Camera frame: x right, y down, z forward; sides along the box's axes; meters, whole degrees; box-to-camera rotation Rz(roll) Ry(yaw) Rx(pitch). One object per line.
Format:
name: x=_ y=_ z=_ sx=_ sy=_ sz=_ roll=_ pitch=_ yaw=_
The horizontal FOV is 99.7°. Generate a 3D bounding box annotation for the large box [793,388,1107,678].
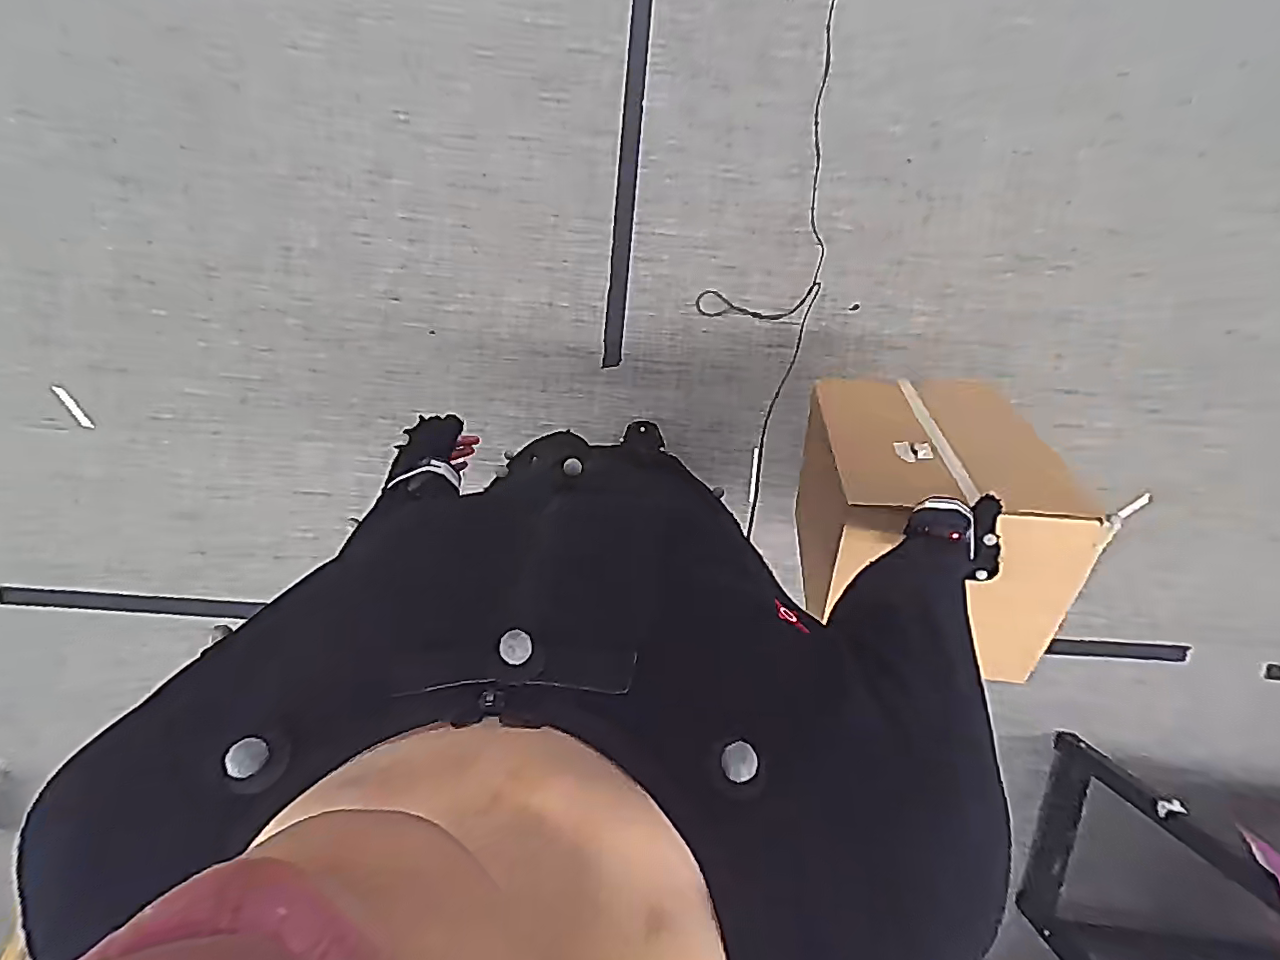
large box: x=0.458 y=0.068 z=0.932 sx=0.320 sy=0.408 sz=0.320 roll=1 pitch=125 yaw=8
